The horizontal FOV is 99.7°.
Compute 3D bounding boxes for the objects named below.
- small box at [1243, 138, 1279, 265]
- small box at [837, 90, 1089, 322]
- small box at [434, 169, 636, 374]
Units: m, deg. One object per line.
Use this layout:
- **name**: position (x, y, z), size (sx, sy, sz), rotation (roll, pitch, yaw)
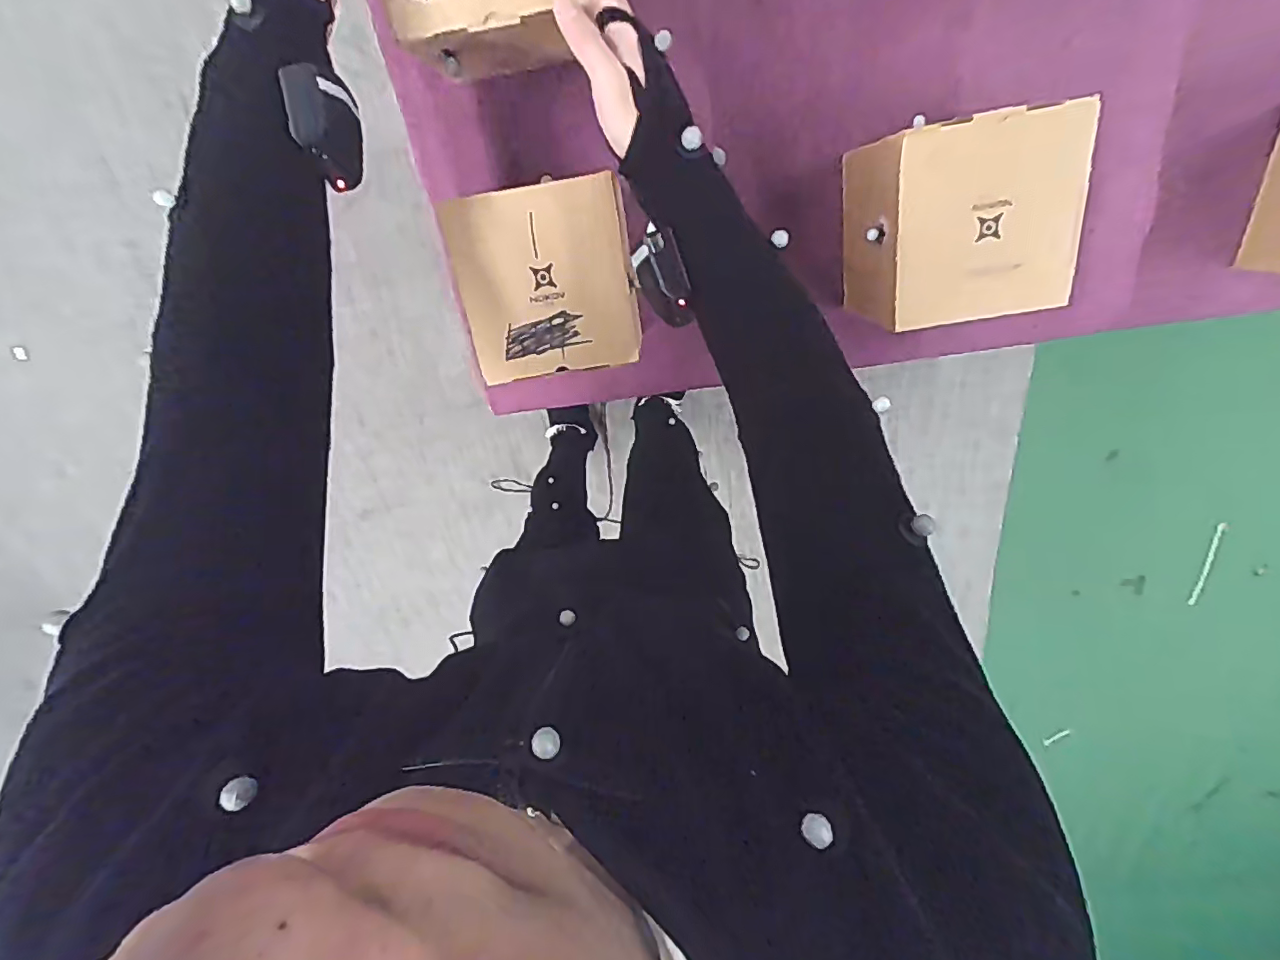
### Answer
- **small box**: position (0.781, -0.307, 0.534), size (0.168, 0.176, 0.179), rotation (-5, 117, 6)
- **small box**: position (0.314, -0.278, 0.570), size (0.168, 0.176, 0.179), rotation (-6, 116, 6)
- **small box**: position (-0.098, -0.234, 0.606), size (0.168, 0.176, 0.179), rotation (-7, 115, 5)
